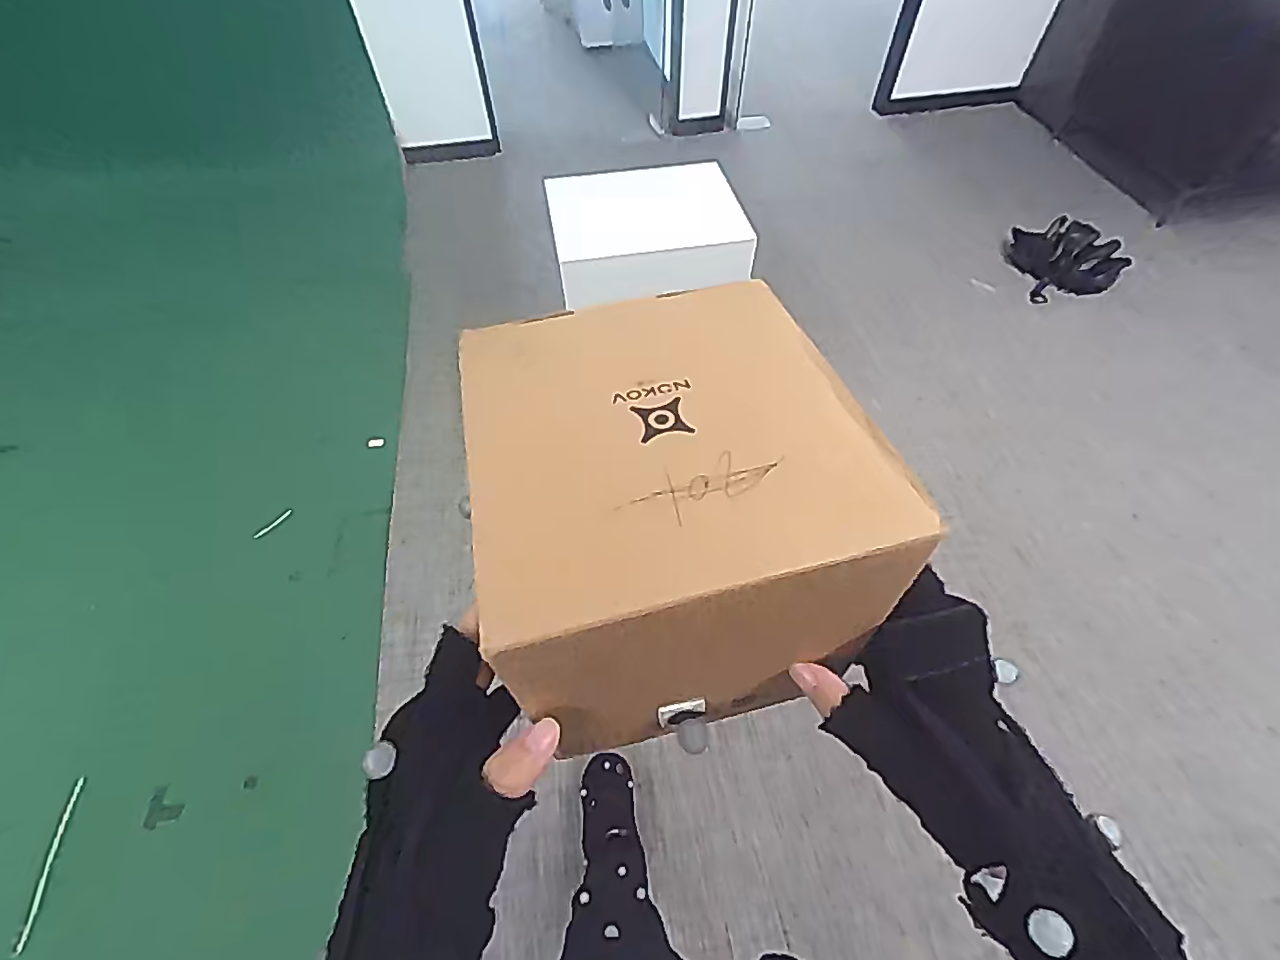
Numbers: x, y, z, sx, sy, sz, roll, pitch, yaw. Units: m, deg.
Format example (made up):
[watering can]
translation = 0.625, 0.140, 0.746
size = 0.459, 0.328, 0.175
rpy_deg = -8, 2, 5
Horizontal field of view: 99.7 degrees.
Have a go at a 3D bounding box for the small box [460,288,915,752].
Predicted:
[small box]
translation = 0.008, 0.024, 0.304
size = 0.168, 0.176, 0.179
rpy_deg = -14, 52, -6
